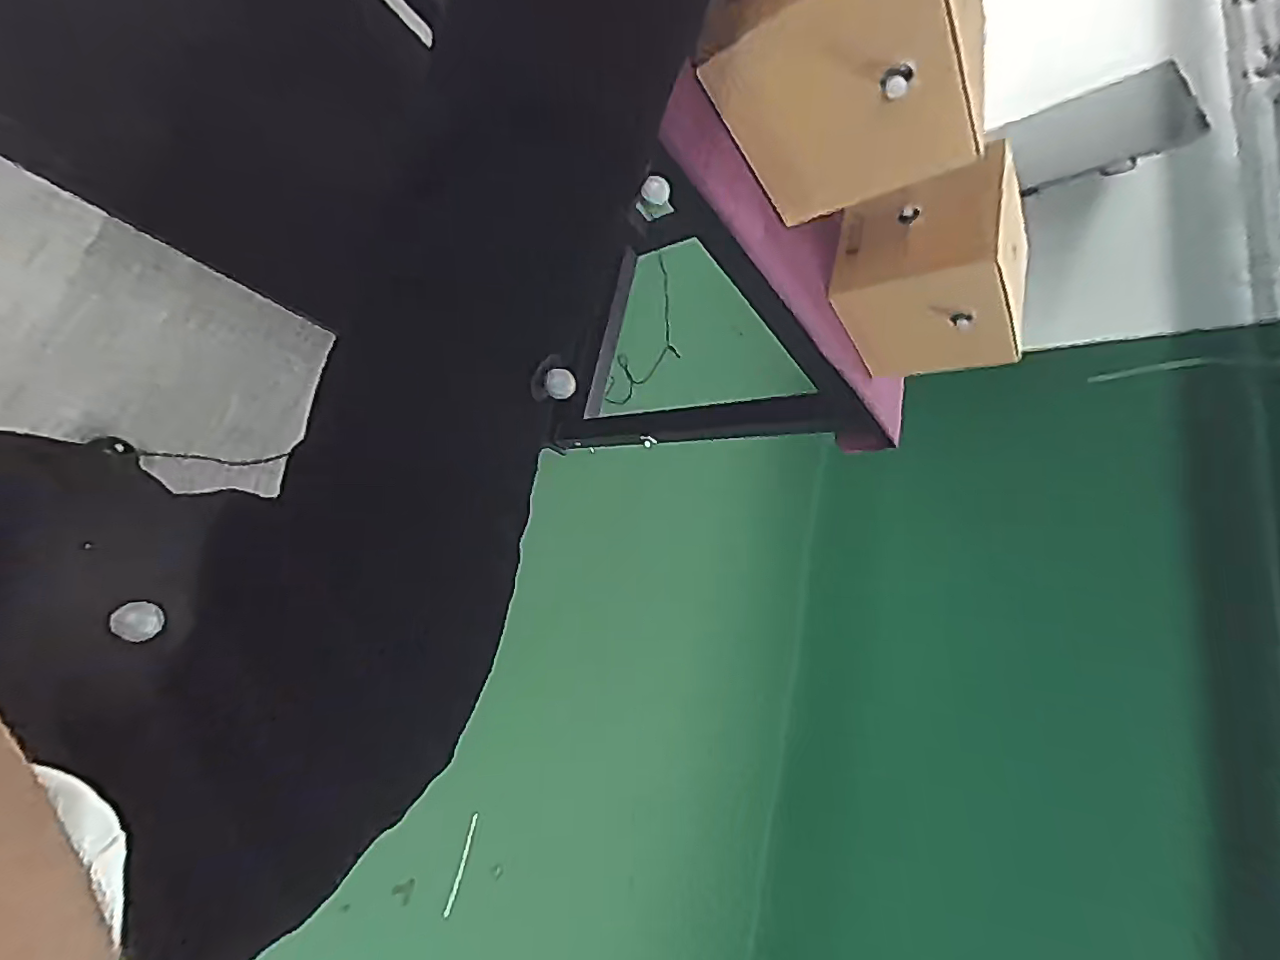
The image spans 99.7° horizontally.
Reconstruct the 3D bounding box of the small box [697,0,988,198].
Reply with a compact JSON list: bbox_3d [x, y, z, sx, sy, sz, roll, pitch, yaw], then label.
[{"bbox_3d":[0.172,-0.367,0.445,0.179,0.176,0.168,31,65,-44],"label":"small box"}]

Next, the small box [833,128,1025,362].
[{"bbox_3d":[0.347,-0.259,0.647,0.179,0.176,0.168,35,65,-43],"label":"small box"}]
